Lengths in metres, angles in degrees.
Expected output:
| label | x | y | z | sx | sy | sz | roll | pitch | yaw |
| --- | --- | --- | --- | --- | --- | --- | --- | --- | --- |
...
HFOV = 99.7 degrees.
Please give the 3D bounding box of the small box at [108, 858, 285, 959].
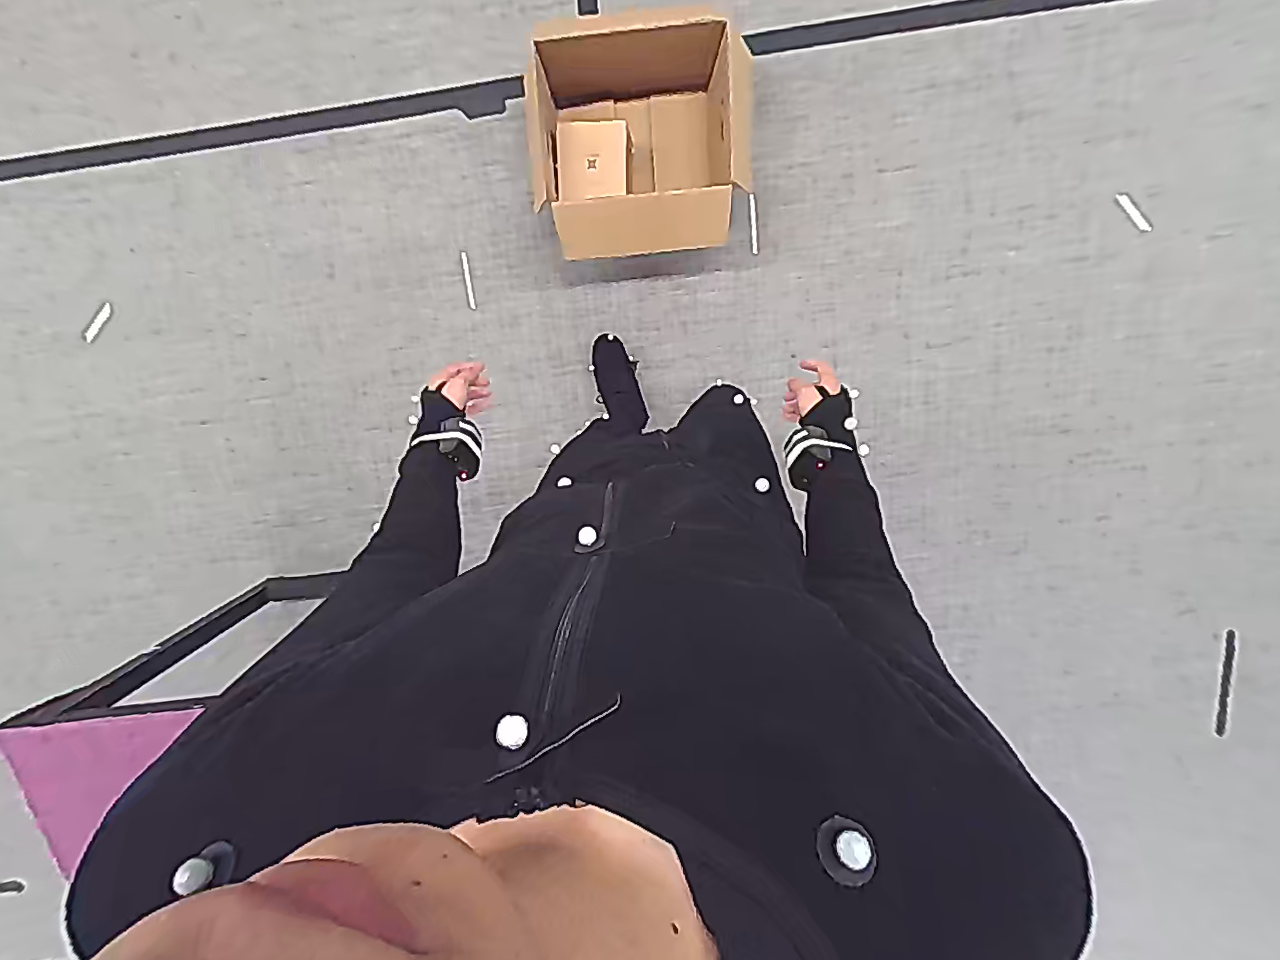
| label | x | y | z | sx | sy | sz | roll | pitch | yaw |
| --- | --- | --- | --- | --- | --- | --- | --- | --- | --- |
| small box | -0.814 | 0.857 | 1.018 | 0.179 | 0.176 | 0.168 | -16 | 102 | 5 |
